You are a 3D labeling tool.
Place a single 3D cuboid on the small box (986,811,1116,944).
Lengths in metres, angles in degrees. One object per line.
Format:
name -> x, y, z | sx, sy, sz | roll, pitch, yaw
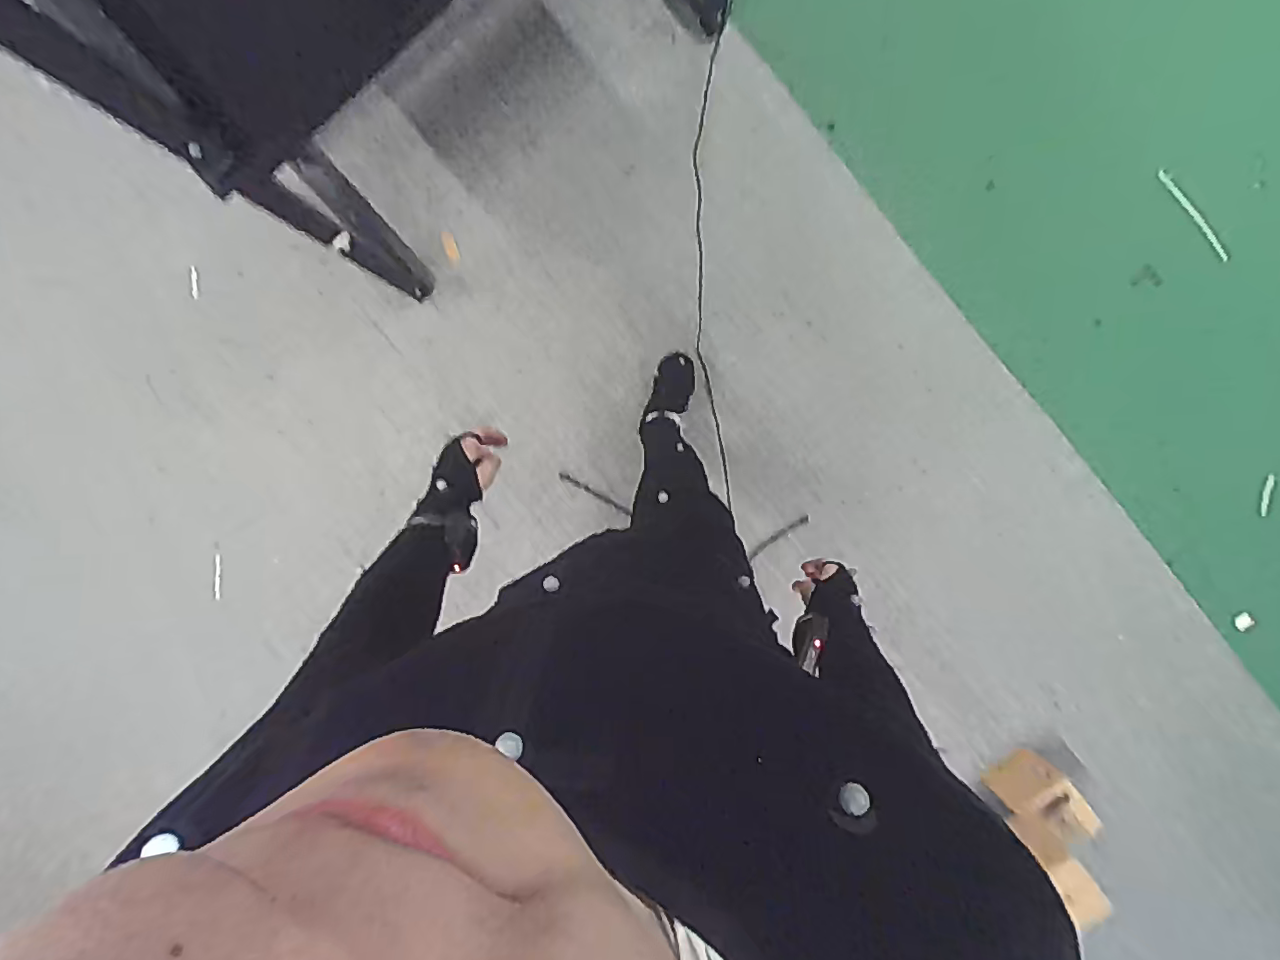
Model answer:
small box -> 1.028, 1.000, 1.376 | 0.179, 0.176, 0.168 | -38, 92, 2
